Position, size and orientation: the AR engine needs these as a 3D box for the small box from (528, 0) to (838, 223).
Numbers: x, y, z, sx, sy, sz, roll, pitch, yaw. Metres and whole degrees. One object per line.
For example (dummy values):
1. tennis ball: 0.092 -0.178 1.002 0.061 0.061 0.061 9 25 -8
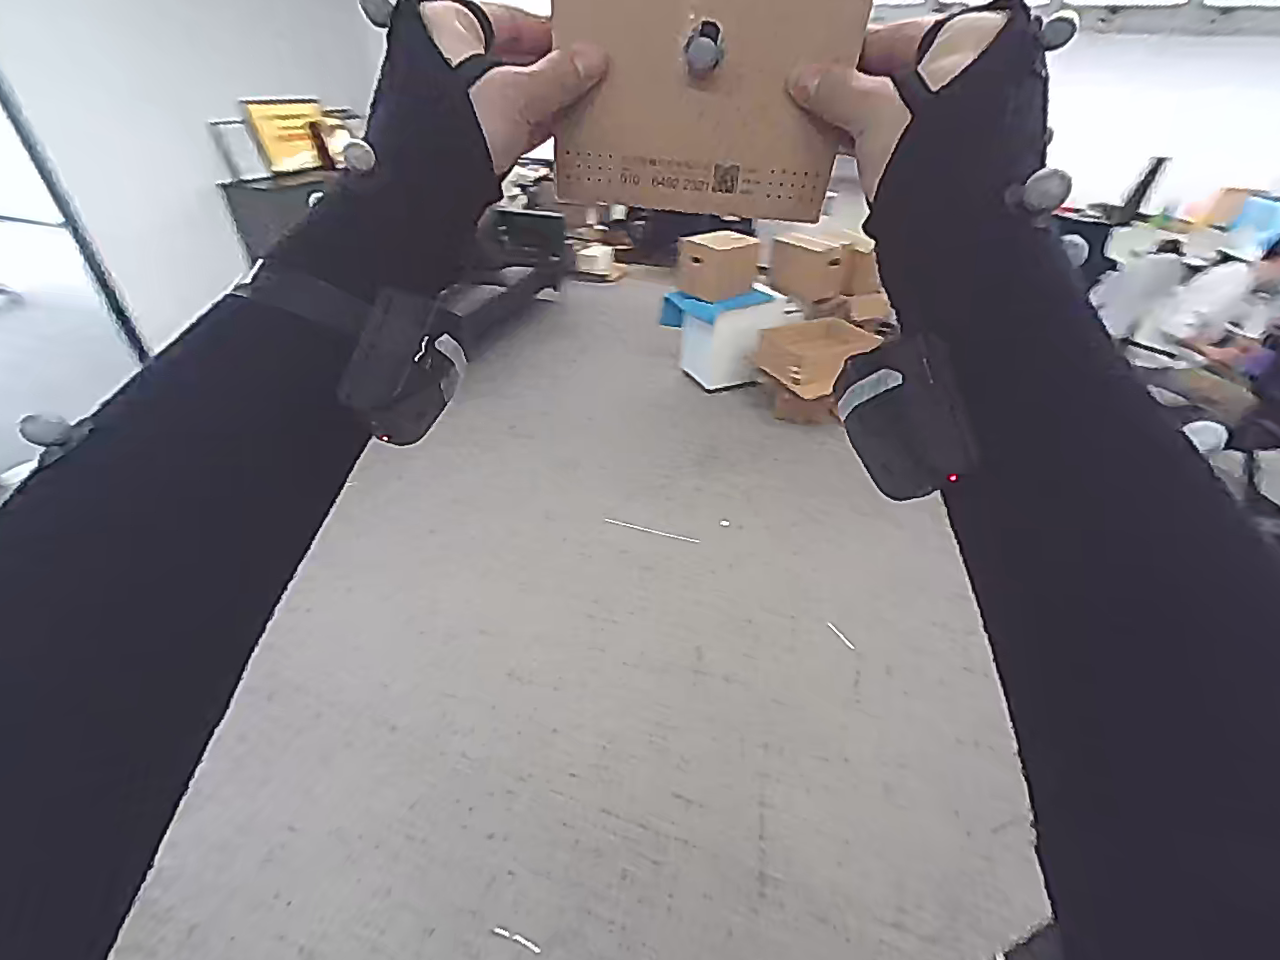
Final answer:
1. small box: 0.029 -0.279 0.354 0.168 0.176 0.179 7 37 3
